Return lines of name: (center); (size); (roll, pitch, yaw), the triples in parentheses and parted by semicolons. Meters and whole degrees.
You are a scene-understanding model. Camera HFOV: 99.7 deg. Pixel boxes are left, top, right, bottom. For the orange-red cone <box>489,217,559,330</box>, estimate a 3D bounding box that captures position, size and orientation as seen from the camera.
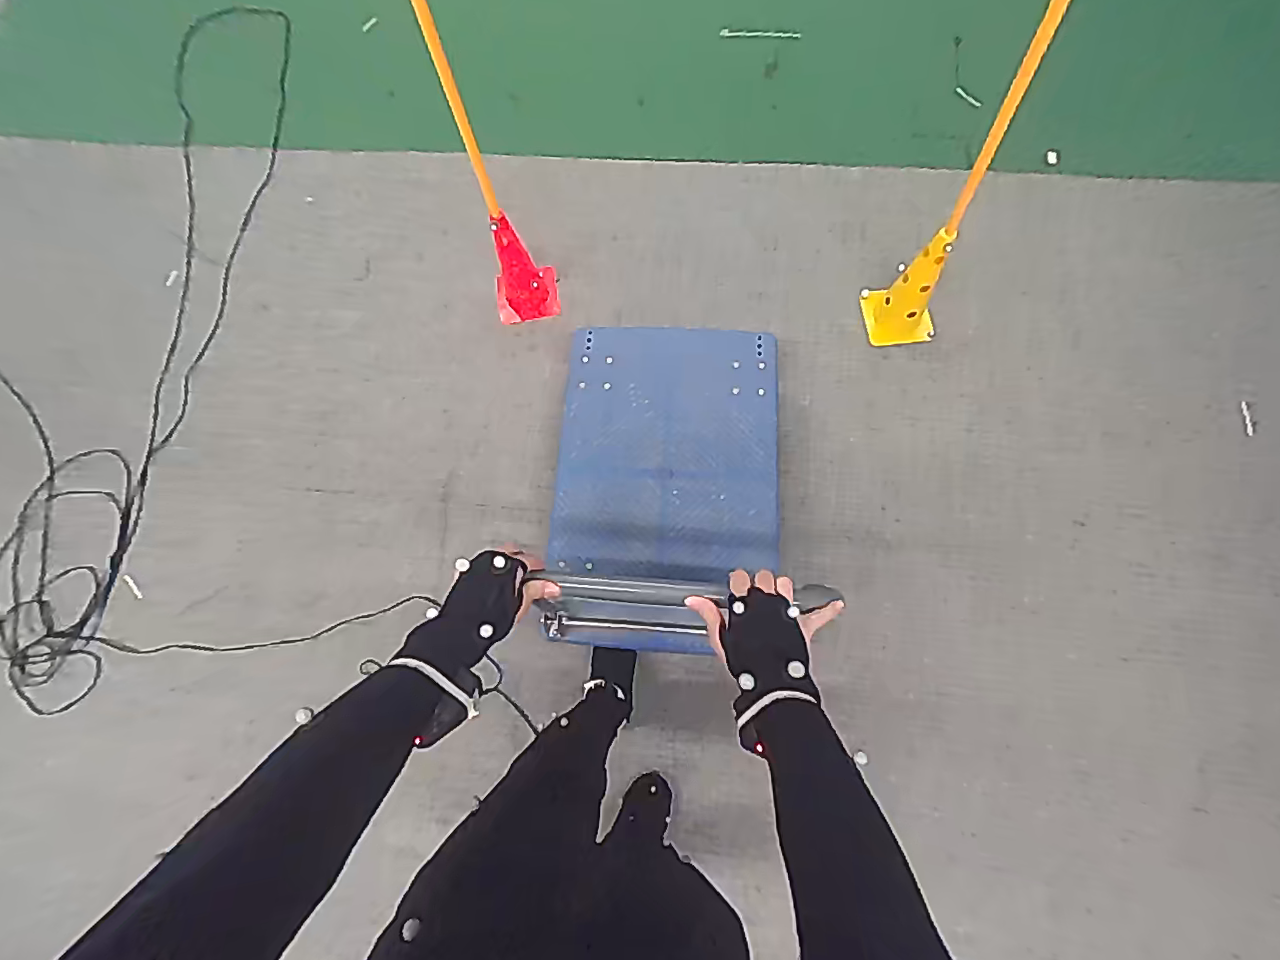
orange-red cone: (-0.384, -0.647, 1.639); (0.199, 0.360, 0.198); (-9, 71, 2)
